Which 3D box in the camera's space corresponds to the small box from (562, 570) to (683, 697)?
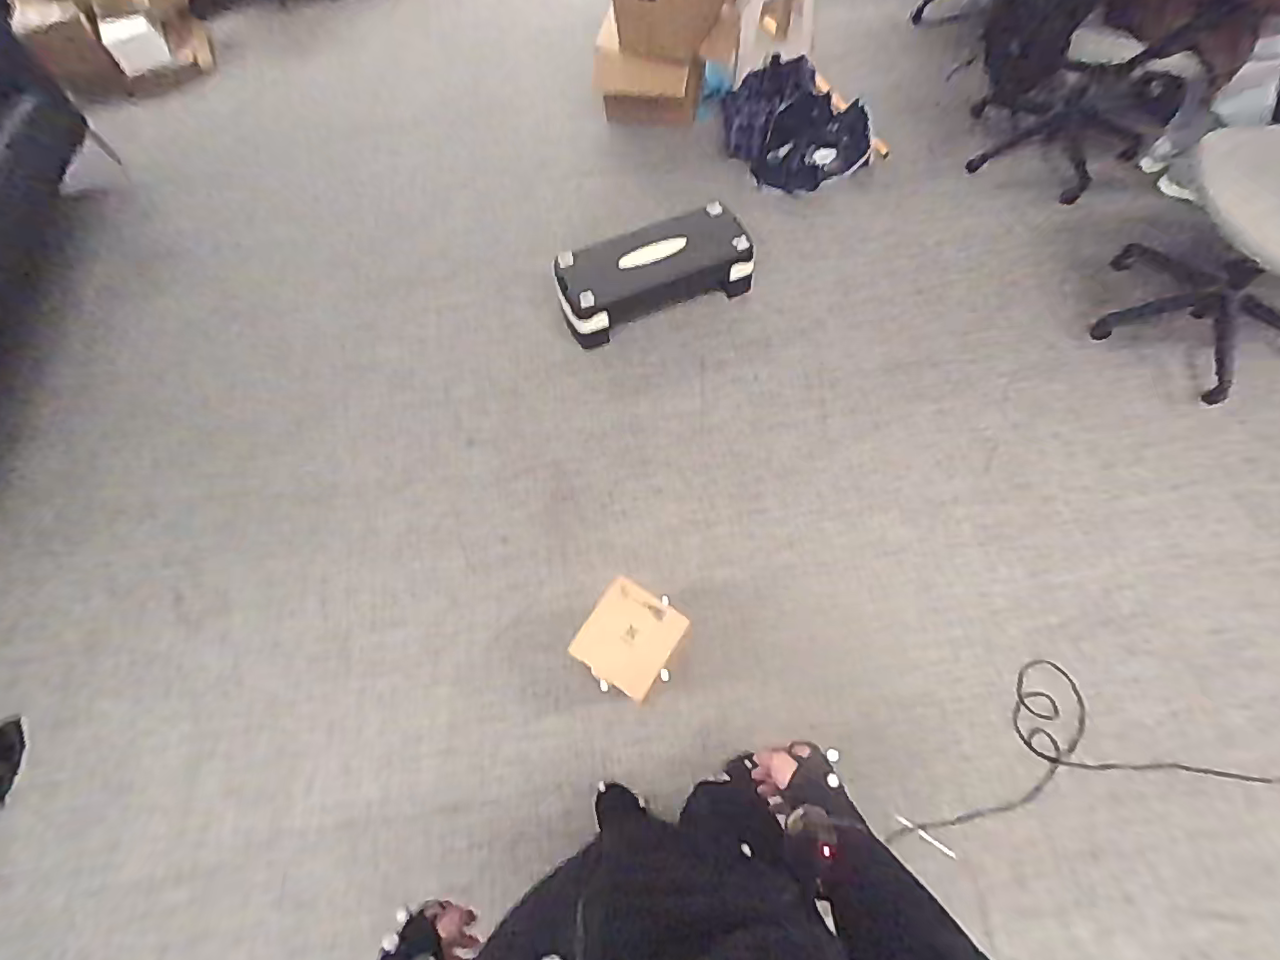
[{"bbox_3d":[-0.026,0.314,1.081,0.168,0.176,0.179,32,72,16],"label":"small box"}]
